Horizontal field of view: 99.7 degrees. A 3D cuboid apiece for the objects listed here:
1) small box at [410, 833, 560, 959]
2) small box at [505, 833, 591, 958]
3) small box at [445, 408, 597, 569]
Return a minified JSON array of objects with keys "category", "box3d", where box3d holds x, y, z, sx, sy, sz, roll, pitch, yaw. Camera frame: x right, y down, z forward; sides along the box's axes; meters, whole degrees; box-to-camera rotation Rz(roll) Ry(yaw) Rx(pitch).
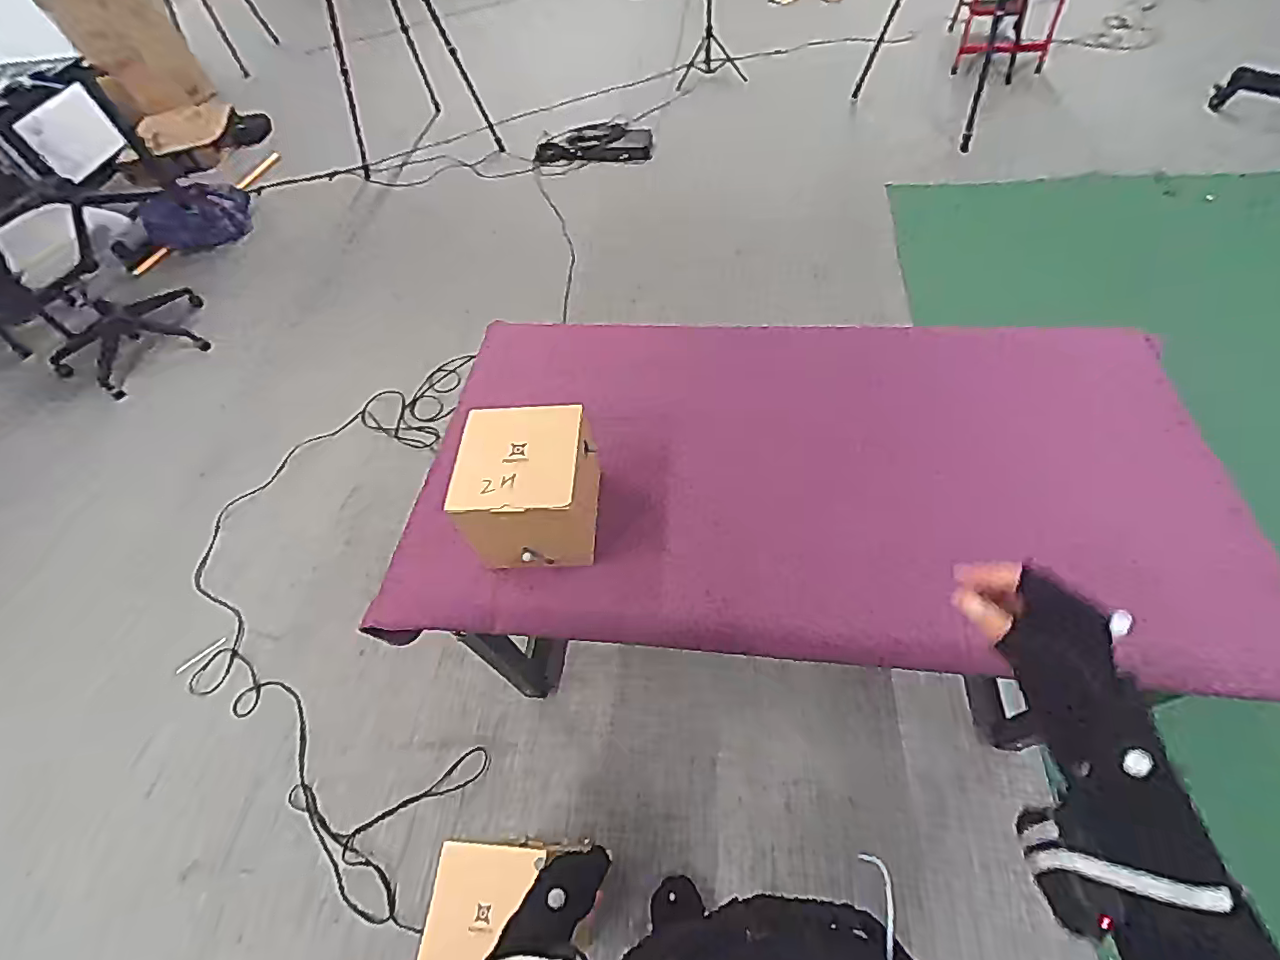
[{"category":"small box","box3d":[-0.228,0.663,0.844,0.168,0.176,0.179,1,59,7]},{"category":"small box","box3d":[-0.202,0.845,1.116,0.168,0.176,0.179,4,58,9]},{"category":"small box","box3d":[-0.159,0.014,0.794,0.168,0.176,0.179,-1,55,5]}]
